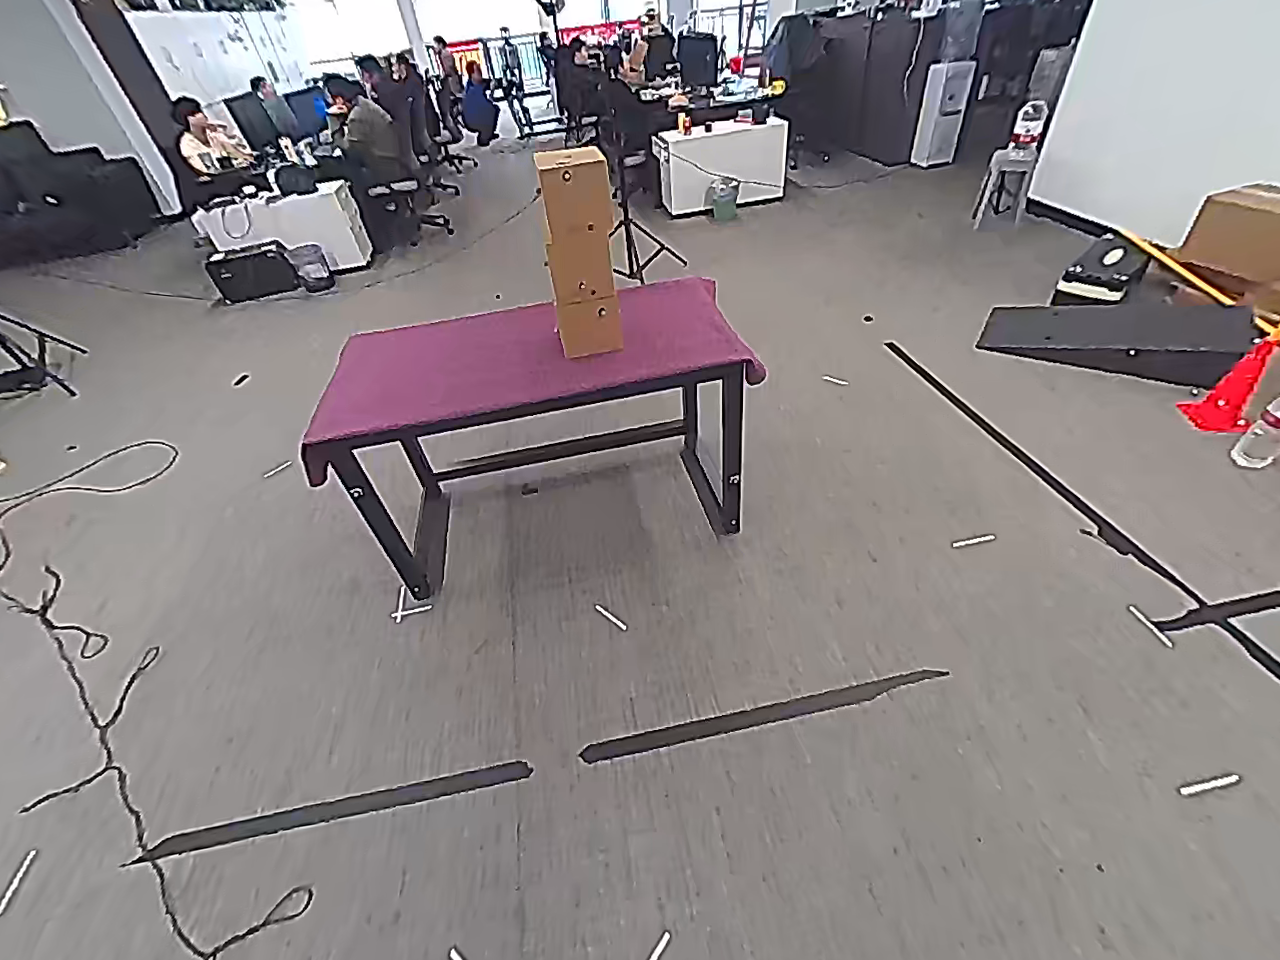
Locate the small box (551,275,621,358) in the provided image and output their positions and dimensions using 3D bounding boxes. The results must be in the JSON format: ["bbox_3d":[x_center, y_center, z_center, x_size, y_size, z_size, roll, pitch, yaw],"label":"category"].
[{"bbox_3d":[-0.156,-0.483,1.599,0.179,0.176,0.168,-13,41,-5],"label":"small box"}]

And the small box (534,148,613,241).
[{"bbox_3d":[-0.170,-0.729,1.383,0.168,0.176,0.179,-13,42,-5],"label":"small box"}]
